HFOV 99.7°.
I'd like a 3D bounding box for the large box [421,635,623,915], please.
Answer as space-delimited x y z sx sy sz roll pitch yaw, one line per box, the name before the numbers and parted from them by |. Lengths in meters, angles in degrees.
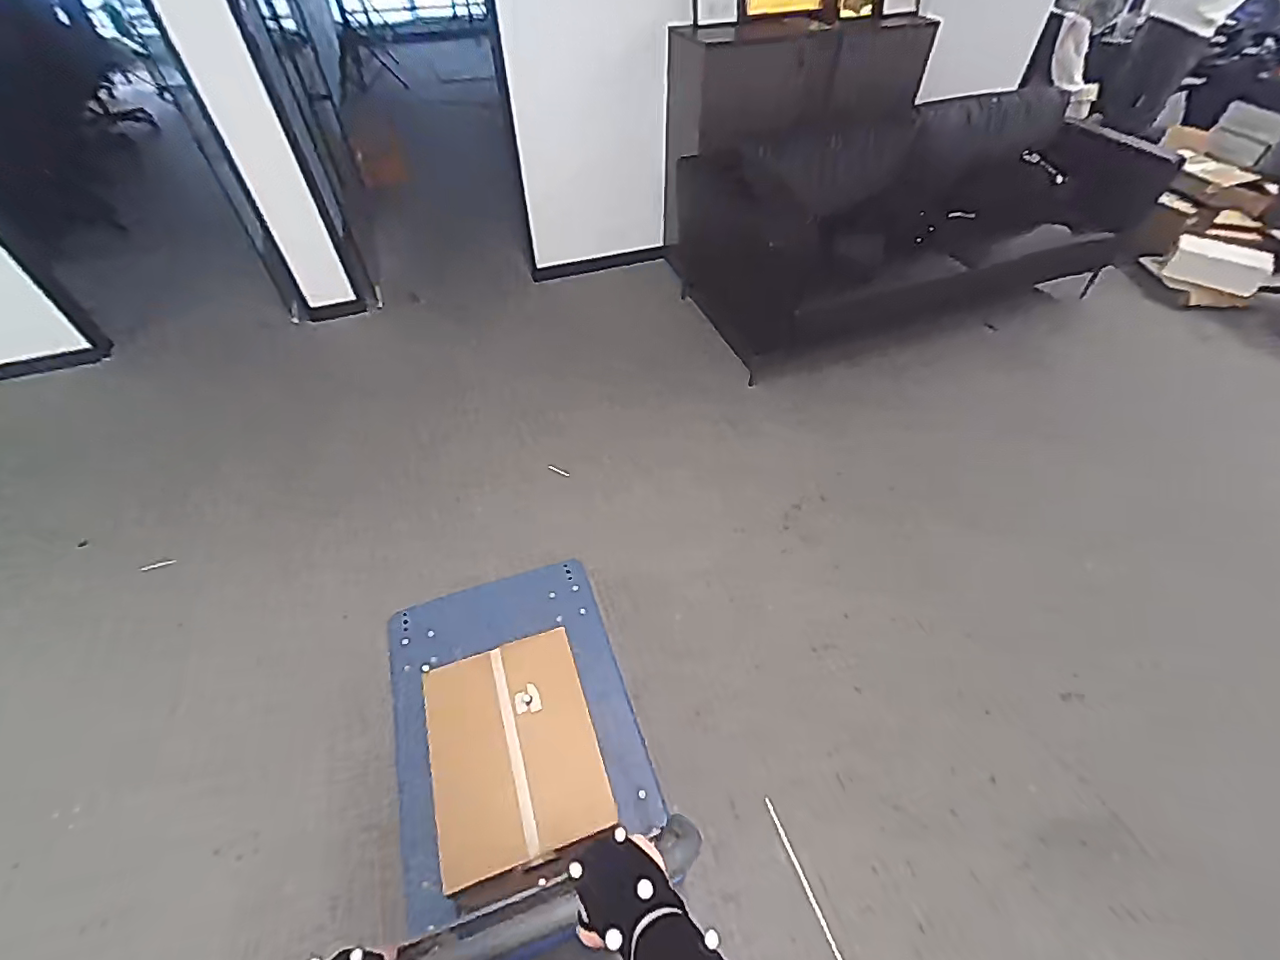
large box | -0.248 0.621 1.160 0.320 0.320 0.408 -15 49 -14
